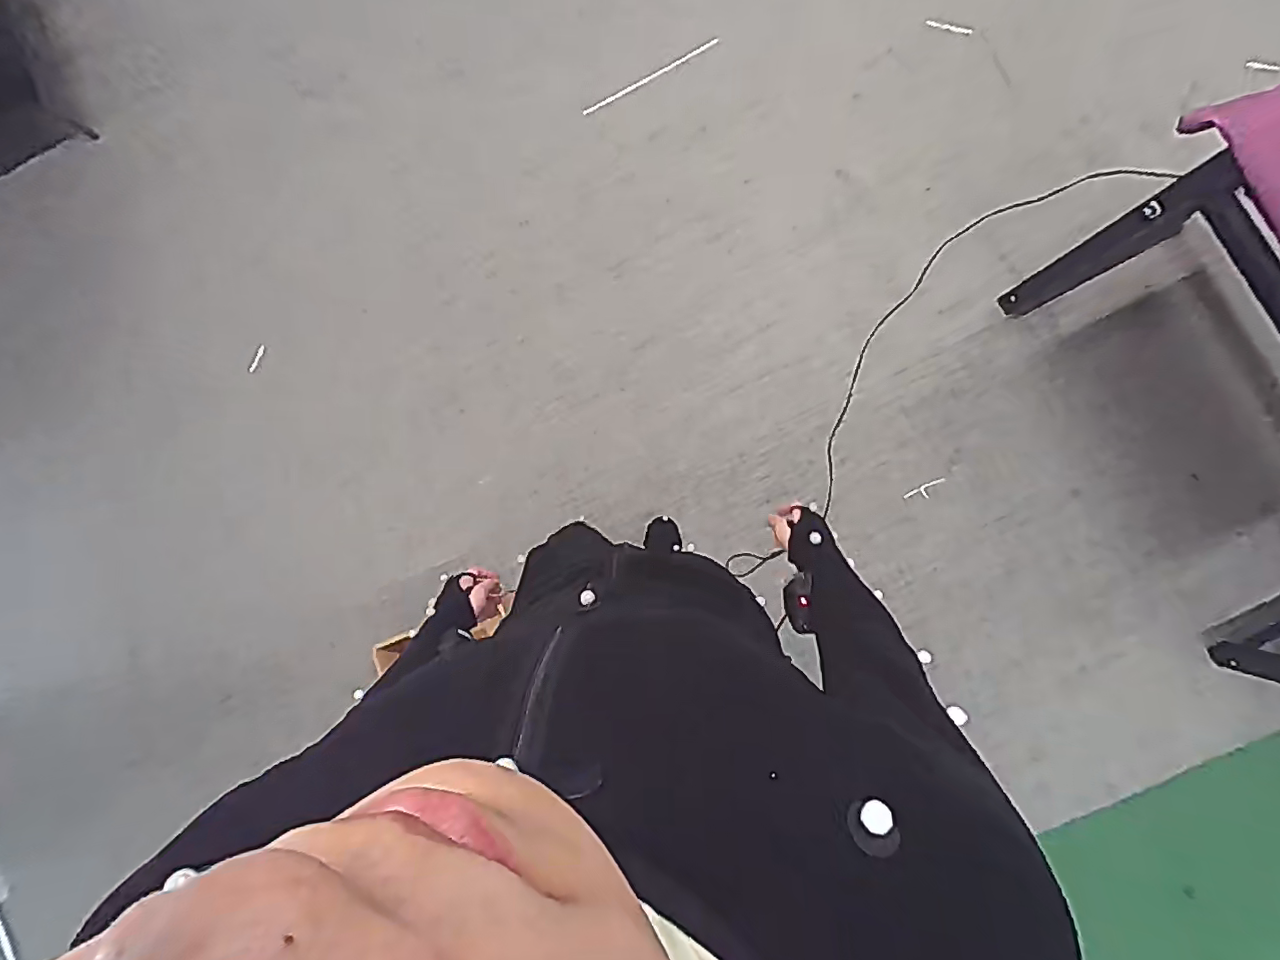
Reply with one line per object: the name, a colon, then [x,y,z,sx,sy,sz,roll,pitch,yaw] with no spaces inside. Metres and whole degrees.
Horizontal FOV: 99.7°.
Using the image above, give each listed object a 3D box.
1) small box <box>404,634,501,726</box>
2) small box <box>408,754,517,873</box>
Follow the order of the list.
small box: [-0.518,0.554,1.515,0.179,0.176,0.168,-22,87,3]
small box: [-0.430,0.812,1.332,0.179,0.176,0.168,-22,84,4]
